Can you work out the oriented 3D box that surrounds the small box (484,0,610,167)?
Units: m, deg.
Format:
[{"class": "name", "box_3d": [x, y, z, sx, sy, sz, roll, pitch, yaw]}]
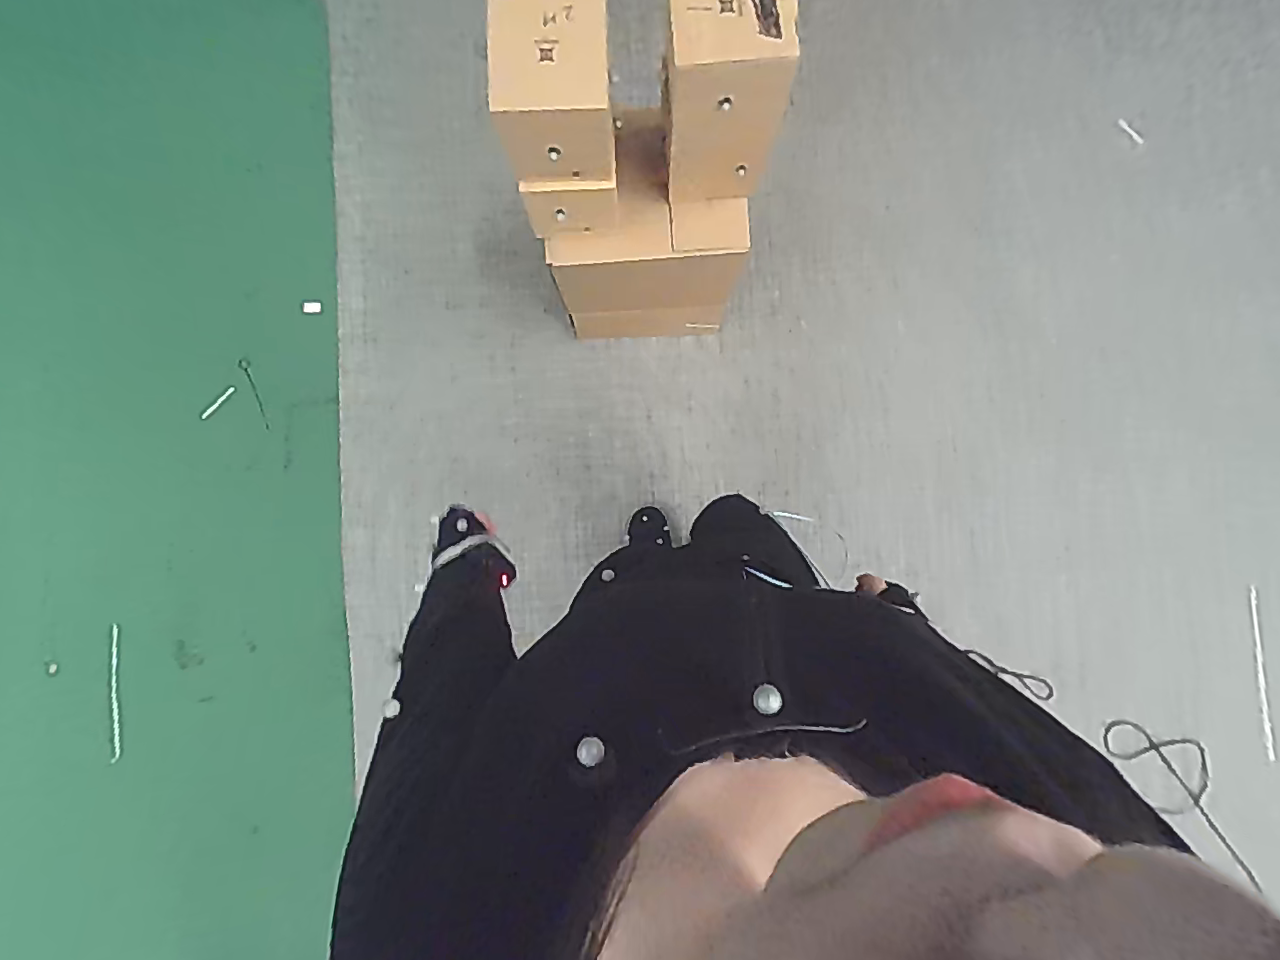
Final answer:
[{"class": "small box", "box_3d": [-0.131, -0.604, 0.818, 0.168, 0.176, 0.179, 0, 89, -2]}]

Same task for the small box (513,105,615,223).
[{"class": "small box", "box_3d": [-0.132, -0.586, 0.982, 0.168, 0.176, 0.179, -2, 89, -1]}]

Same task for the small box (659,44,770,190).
[{"class": "small box", "box_3d": [0.128, -0.658, 0.985, 0.179, 0.176, 0.168, -4, 88, 1]}]

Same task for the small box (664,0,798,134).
[{"class": "small box", "box_3d": [0.129, -0.662, 0.821, 0.179, 0.176, 0.168, -3, 88, 2]}]
